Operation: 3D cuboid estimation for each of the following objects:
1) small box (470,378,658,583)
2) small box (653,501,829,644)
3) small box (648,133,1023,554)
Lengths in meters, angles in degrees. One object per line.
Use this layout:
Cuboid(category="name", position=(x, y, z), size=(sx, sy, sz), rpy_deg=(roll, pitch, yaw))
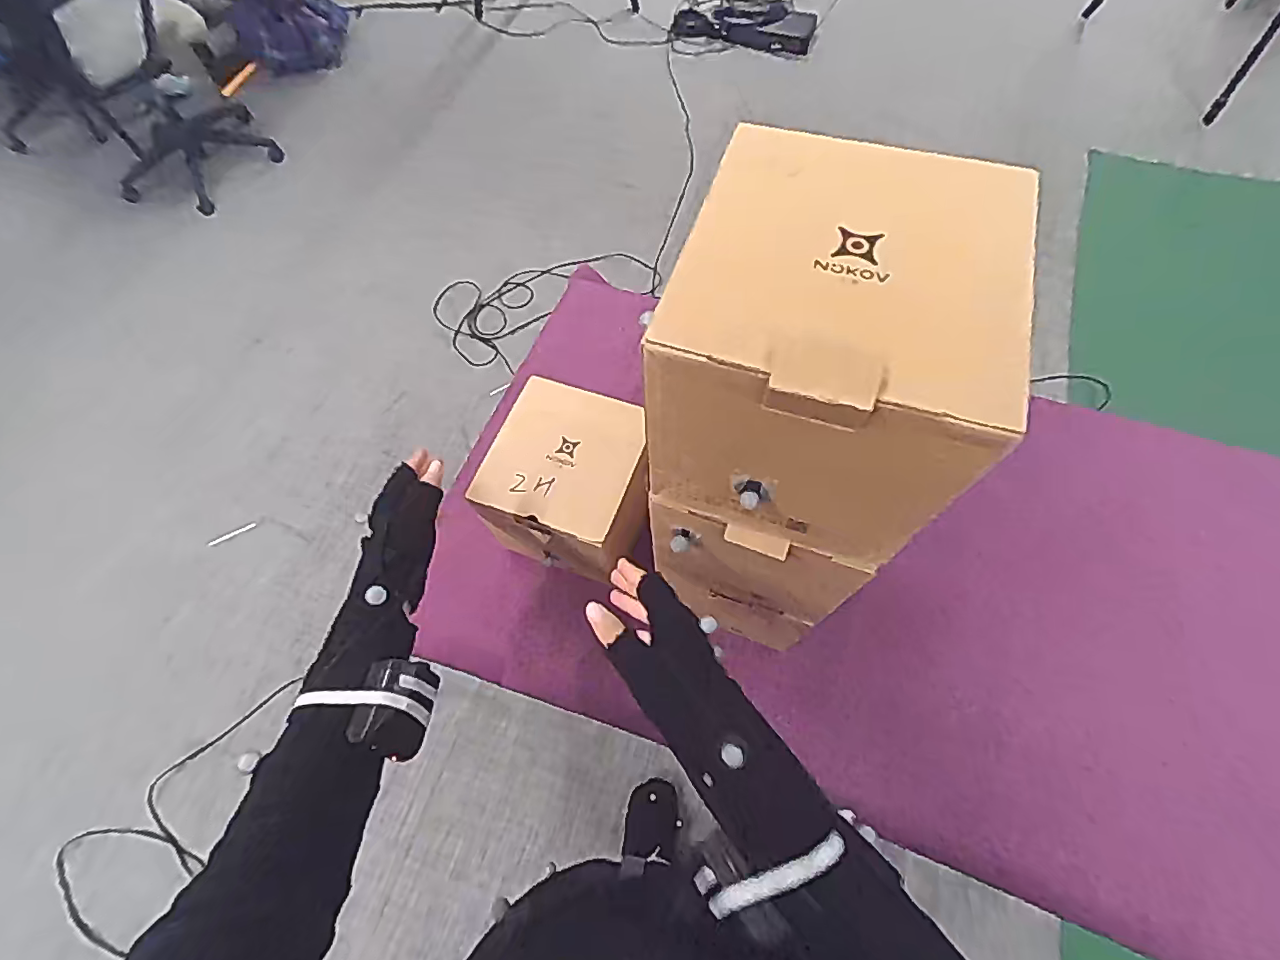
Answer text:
Cuboid(category="small box", position=(-0.080, 0.007, 0.682), size=(0.168, 0.176, 0.179), rpy_deg=(18, 67, 12))
Cuboid(category="small box", position=(0.125, 0.075, 0.638), size=(0.168, 0.176, 0.179), rpy_deg=(19, 66, 12))
Cuboid(category="small box", position=(0.108, -0.077, 0.348), size=(0.168, 0.176, 0.179), rpy_deg=(16, 66, 11))
